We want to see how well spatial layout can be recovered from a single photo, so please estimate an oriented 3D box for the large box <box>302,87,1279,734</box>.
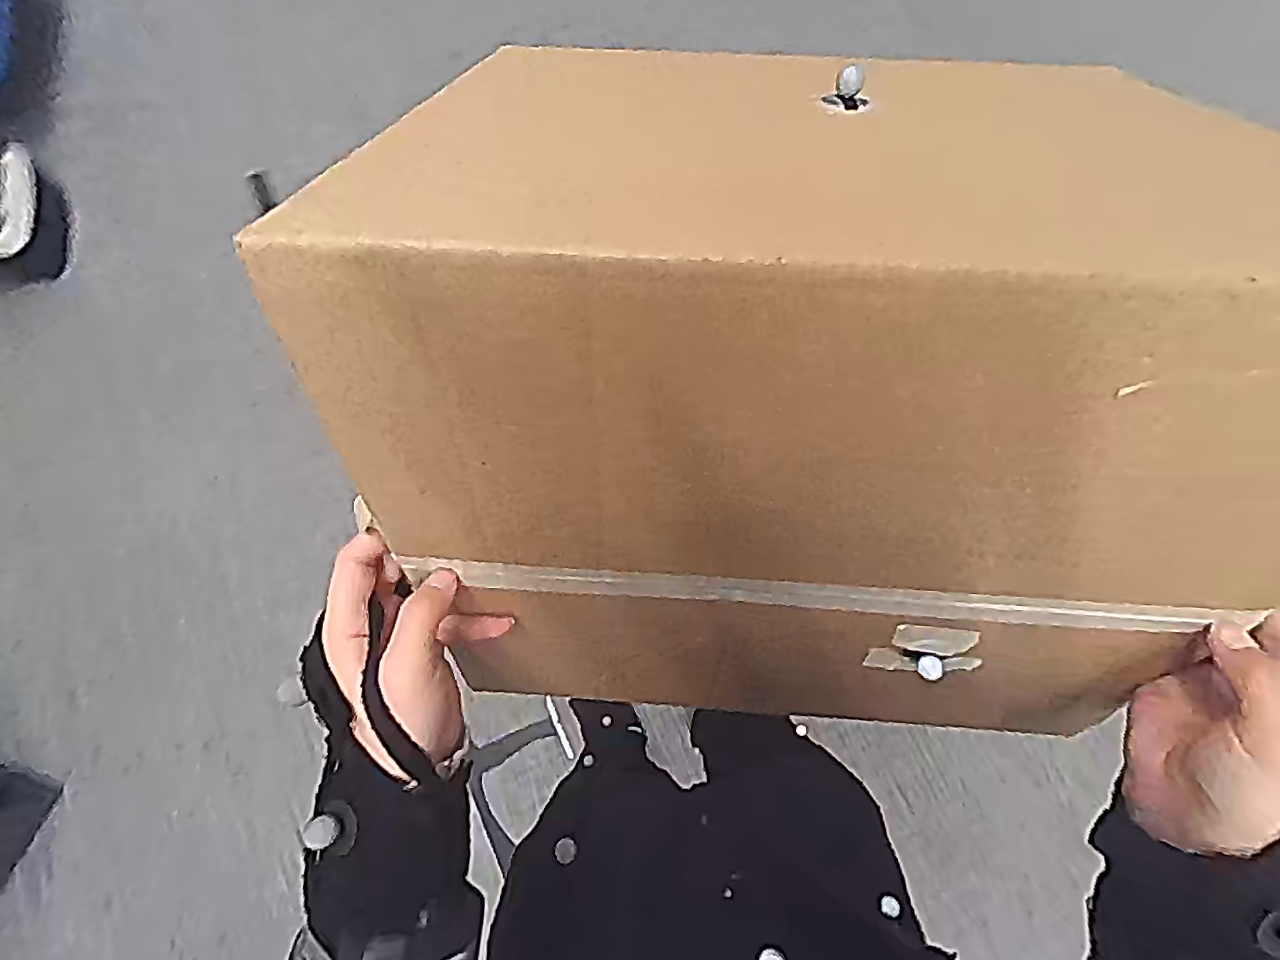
[{"bbox_3d":[0.097,-0.052,0.369,0.408,0.320,0.320,3,47,2],"label":"large box"}]
